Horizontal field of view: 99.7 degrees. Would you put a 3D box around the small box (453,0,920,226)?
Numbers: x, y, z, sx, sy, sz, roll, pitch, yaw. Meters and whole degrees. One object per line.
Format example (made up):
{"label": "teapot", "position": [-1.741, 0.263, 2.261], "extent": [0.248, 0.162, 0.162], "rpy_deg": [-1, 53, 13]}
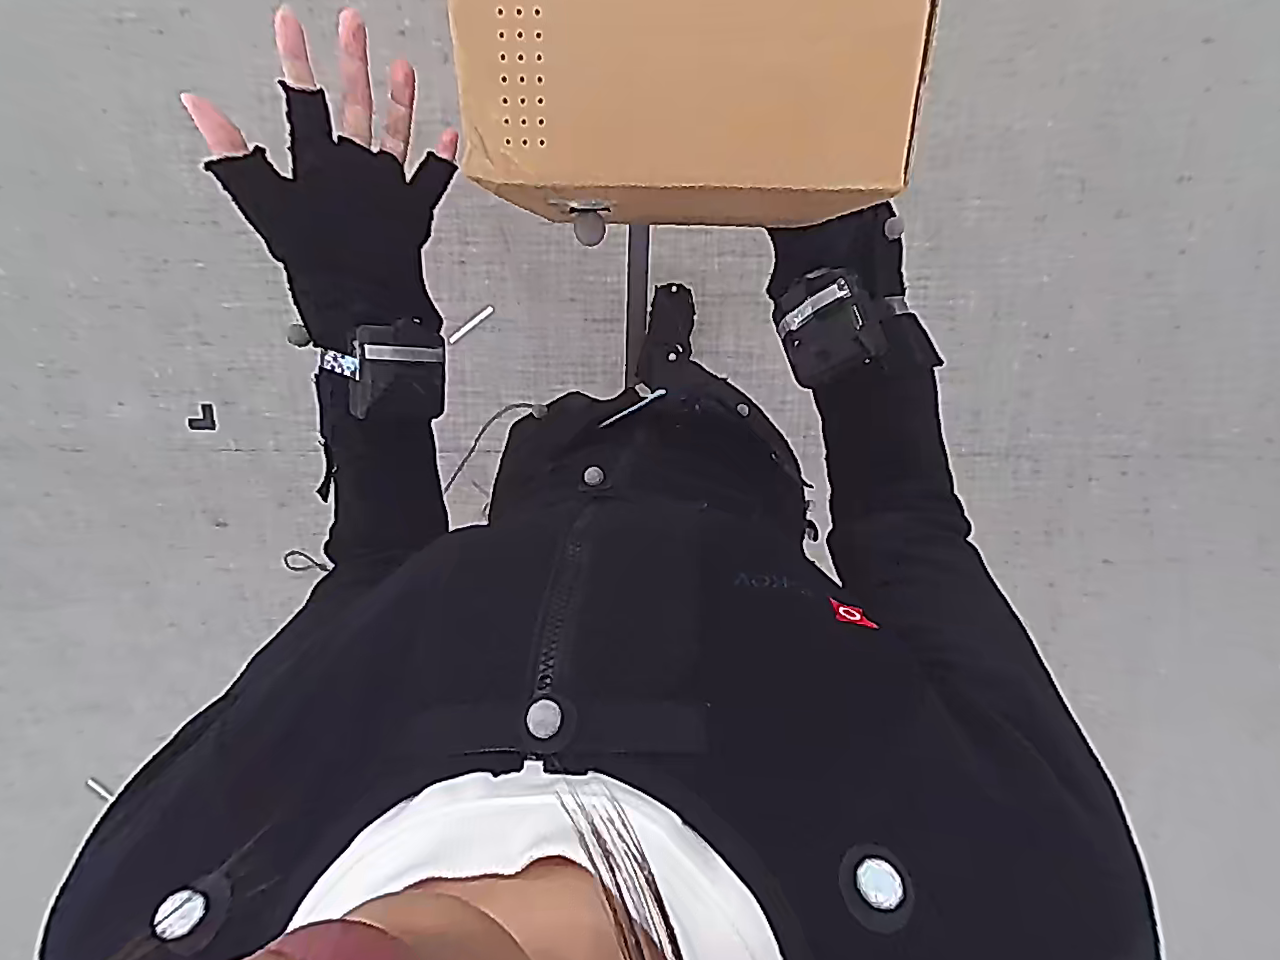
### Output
{"label": "small box", "position": [0.017, -0.224, 0.257], "extent": [0.176, 0.168, 0.179], "rpy_deg": [2, 111, 3]}
